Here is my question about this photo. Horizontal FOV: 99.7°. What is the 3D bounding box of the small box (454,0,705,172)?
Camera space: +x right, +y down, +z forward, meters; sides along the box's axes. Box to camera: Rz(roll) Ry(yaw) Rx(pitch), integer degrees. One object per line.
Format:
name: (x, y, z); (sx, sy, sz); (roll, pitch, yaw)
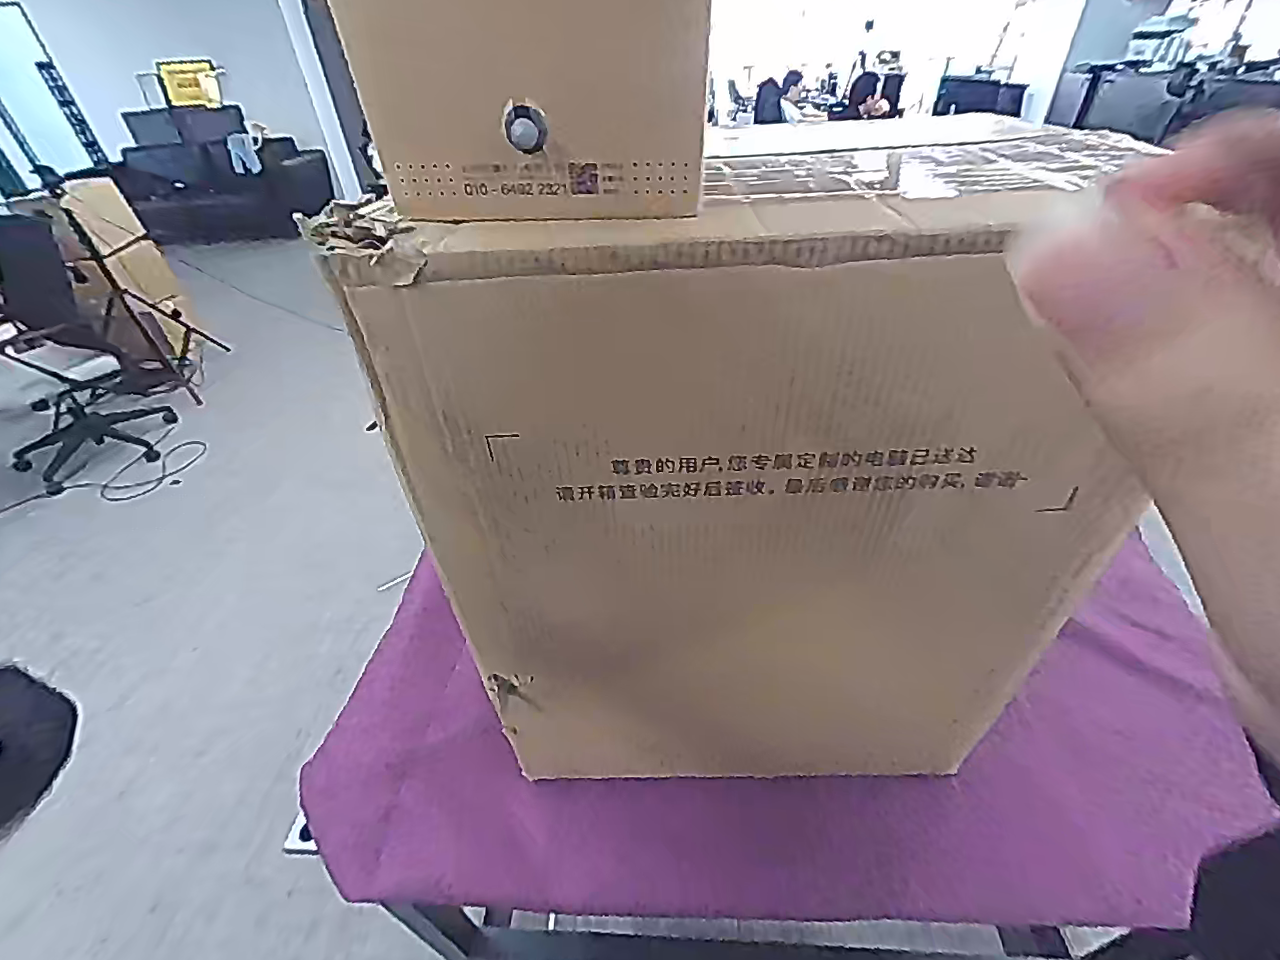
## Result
small box: (-0.040, -0.361, 0.439); (0.179, 0.176, 0.168); (-1, 38, 1)
